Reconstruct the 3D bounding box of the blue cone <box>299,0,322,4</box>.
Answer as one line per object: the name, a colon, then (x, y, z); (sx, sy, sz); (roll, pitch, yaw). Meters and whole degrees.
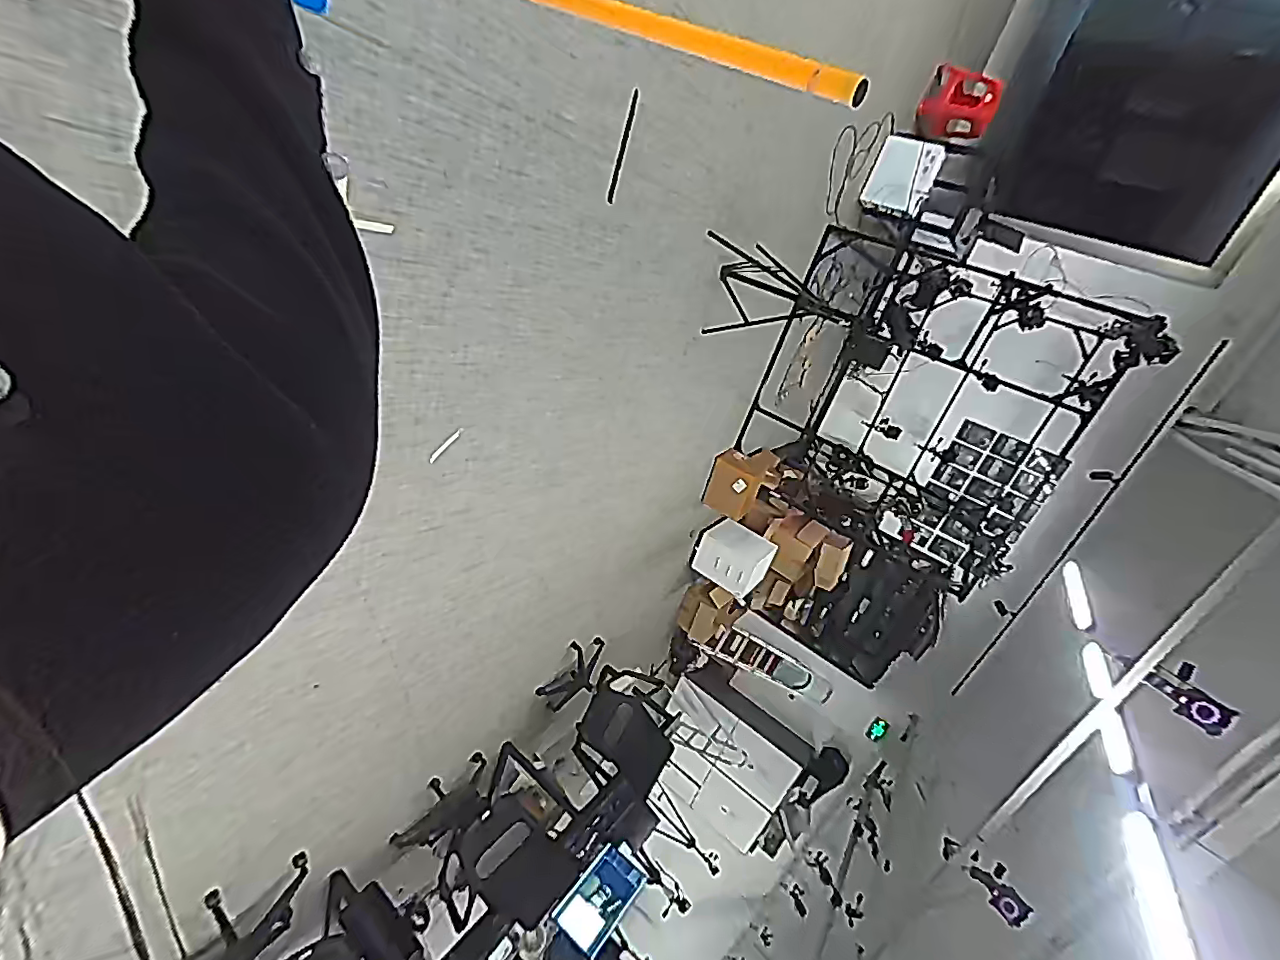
blue cone: (-0.548, -0.947, 0.930); (0.193, 0.380, 0.192); (-23, 137, -52)
